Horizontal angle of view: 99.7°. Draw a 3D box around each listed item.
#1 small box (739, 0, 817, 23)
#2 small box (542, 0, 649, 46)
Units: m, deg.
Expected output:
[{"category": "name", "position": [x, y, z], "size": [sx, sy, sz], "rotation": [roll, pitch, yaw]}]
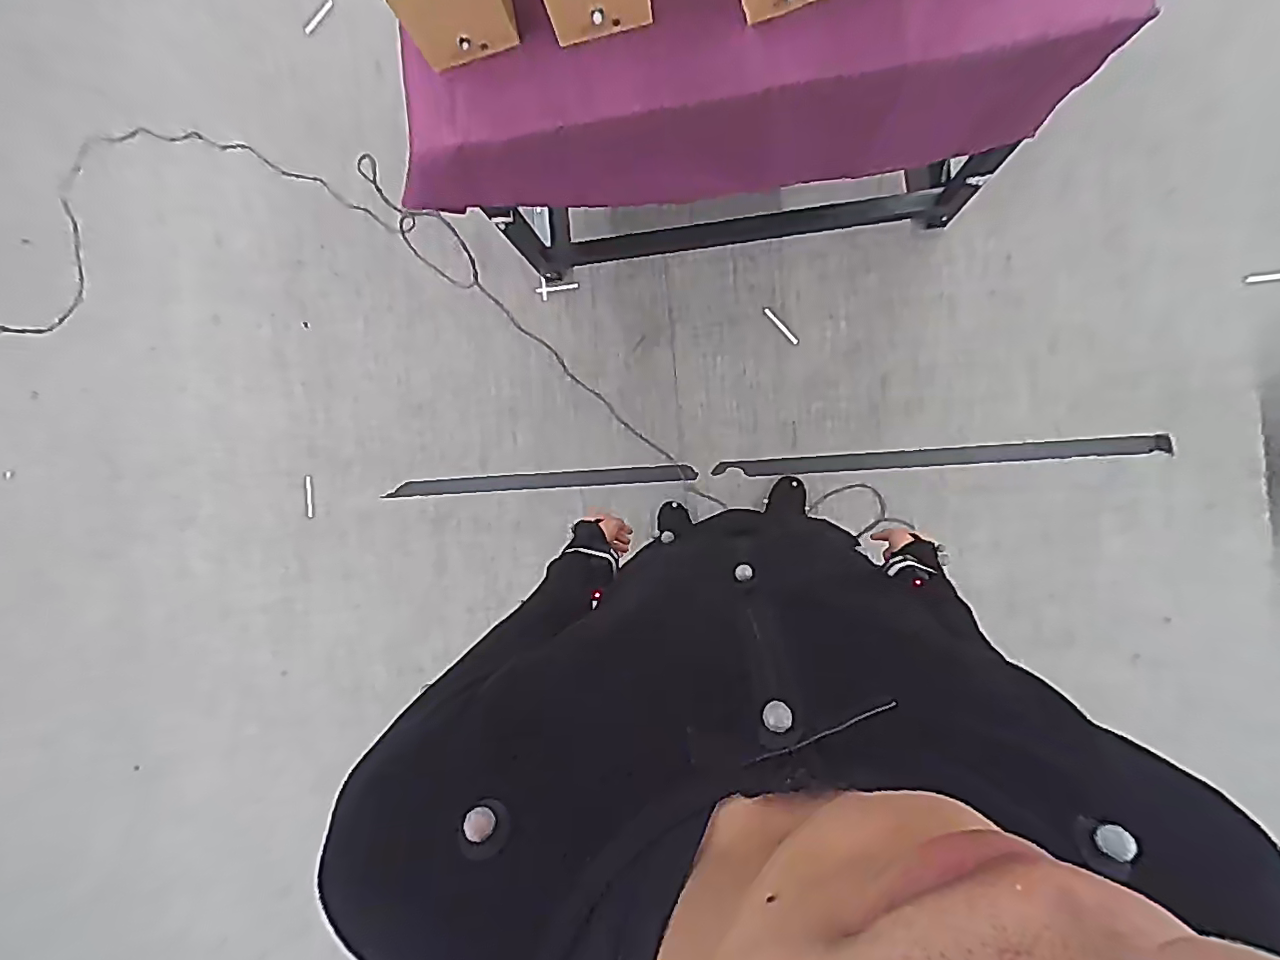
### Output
[{"category": "small box", "position": [0.217, -0.846, 0.797], "size": [0.168, 0.176, 0.179], "rotation": [-16, 88, 9]}, {"category": "small box", "position": [-0.086, -0.839, 0.841], "size": [0.168, 0.176, 0.179], "rotation": [-9, 90, 9]}]
